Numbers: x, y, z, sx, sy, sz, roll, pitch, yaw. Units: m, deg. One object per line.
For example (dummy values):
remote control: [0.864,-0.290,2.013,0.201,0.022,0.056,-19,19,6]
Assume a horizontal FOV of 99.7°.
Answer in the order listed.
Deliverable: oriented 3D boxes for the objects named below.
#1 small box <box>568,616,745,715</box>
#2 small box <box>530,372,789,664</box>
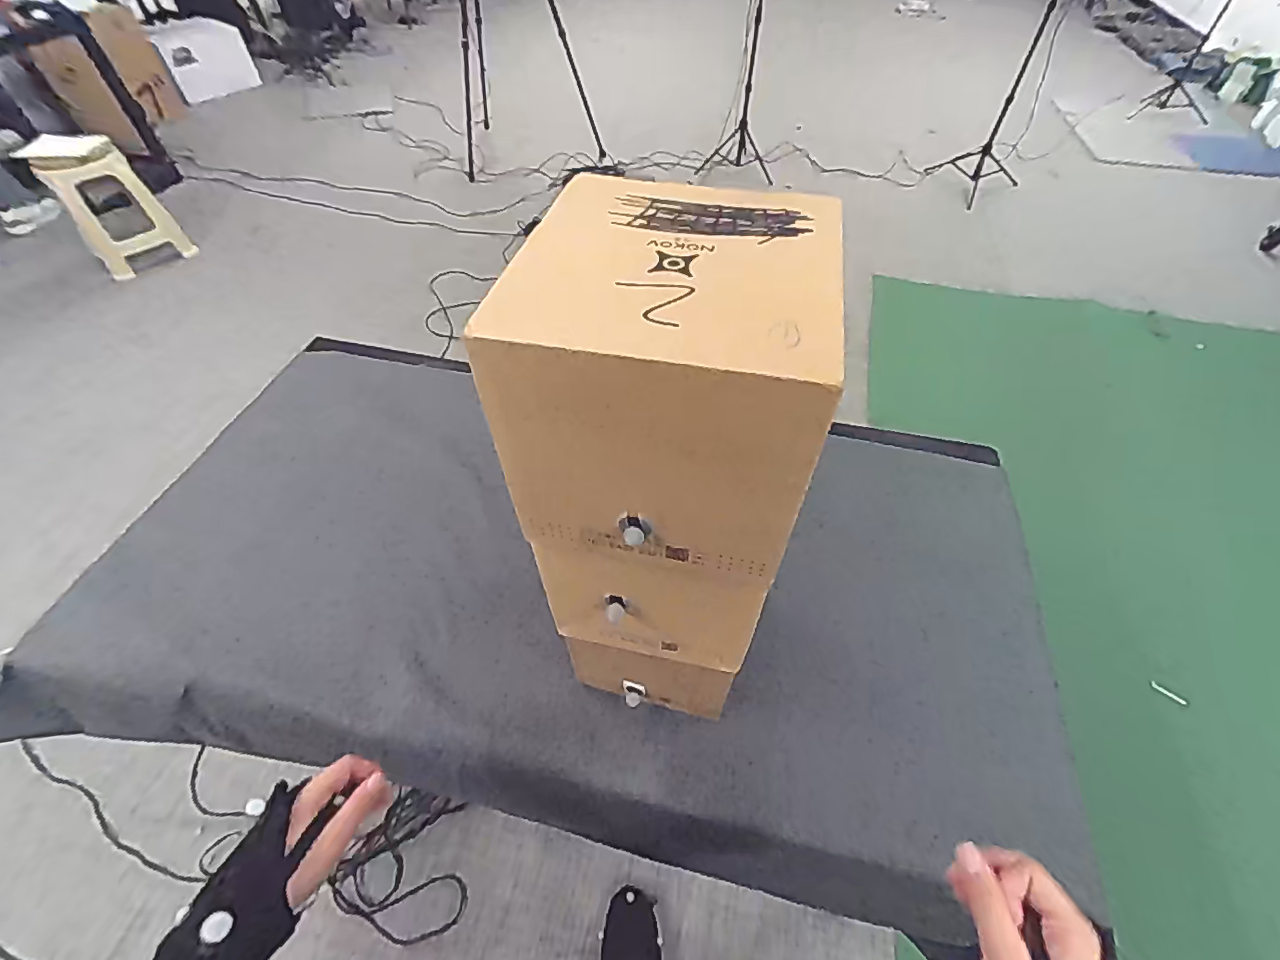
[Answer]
small box: [0.032,0.132,0.595,0.168,0.176,0.179,10,53,10]
small box: [0.025,0.035,0.464,0.168,0.176,0.179,10,51,9]
